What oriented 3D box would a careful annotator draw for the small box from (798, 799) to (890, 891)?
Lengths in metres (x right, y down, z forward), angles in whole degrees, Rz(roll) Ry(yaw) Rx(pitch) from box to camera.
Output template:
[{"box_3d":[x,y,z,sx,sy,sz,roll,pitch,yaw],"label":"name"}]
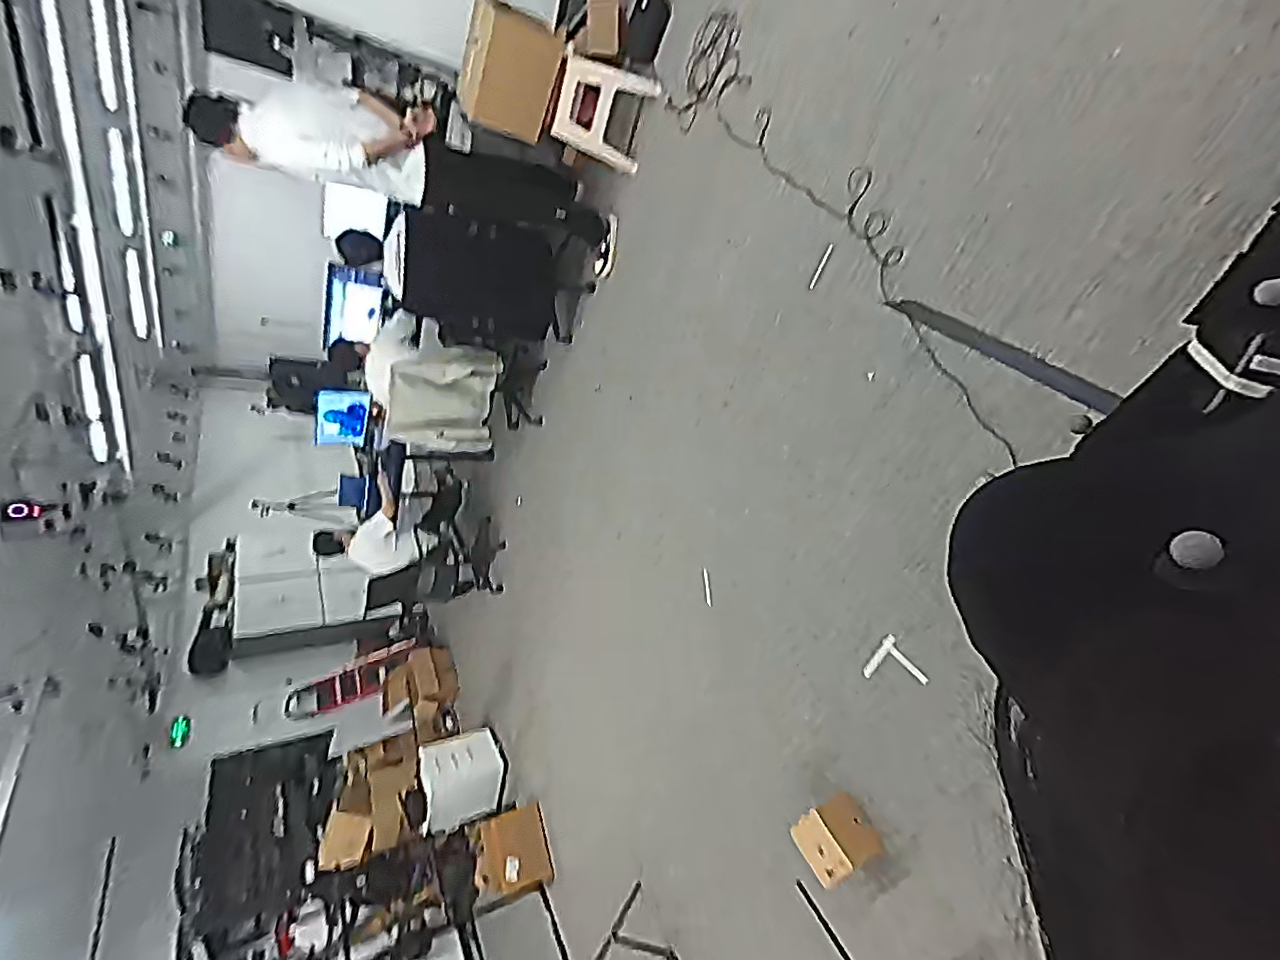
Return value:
[{"box_3d":[0.646,1.145,1.715,0.179,0.176,0.168,54,133,40],"label":"small box"}]
